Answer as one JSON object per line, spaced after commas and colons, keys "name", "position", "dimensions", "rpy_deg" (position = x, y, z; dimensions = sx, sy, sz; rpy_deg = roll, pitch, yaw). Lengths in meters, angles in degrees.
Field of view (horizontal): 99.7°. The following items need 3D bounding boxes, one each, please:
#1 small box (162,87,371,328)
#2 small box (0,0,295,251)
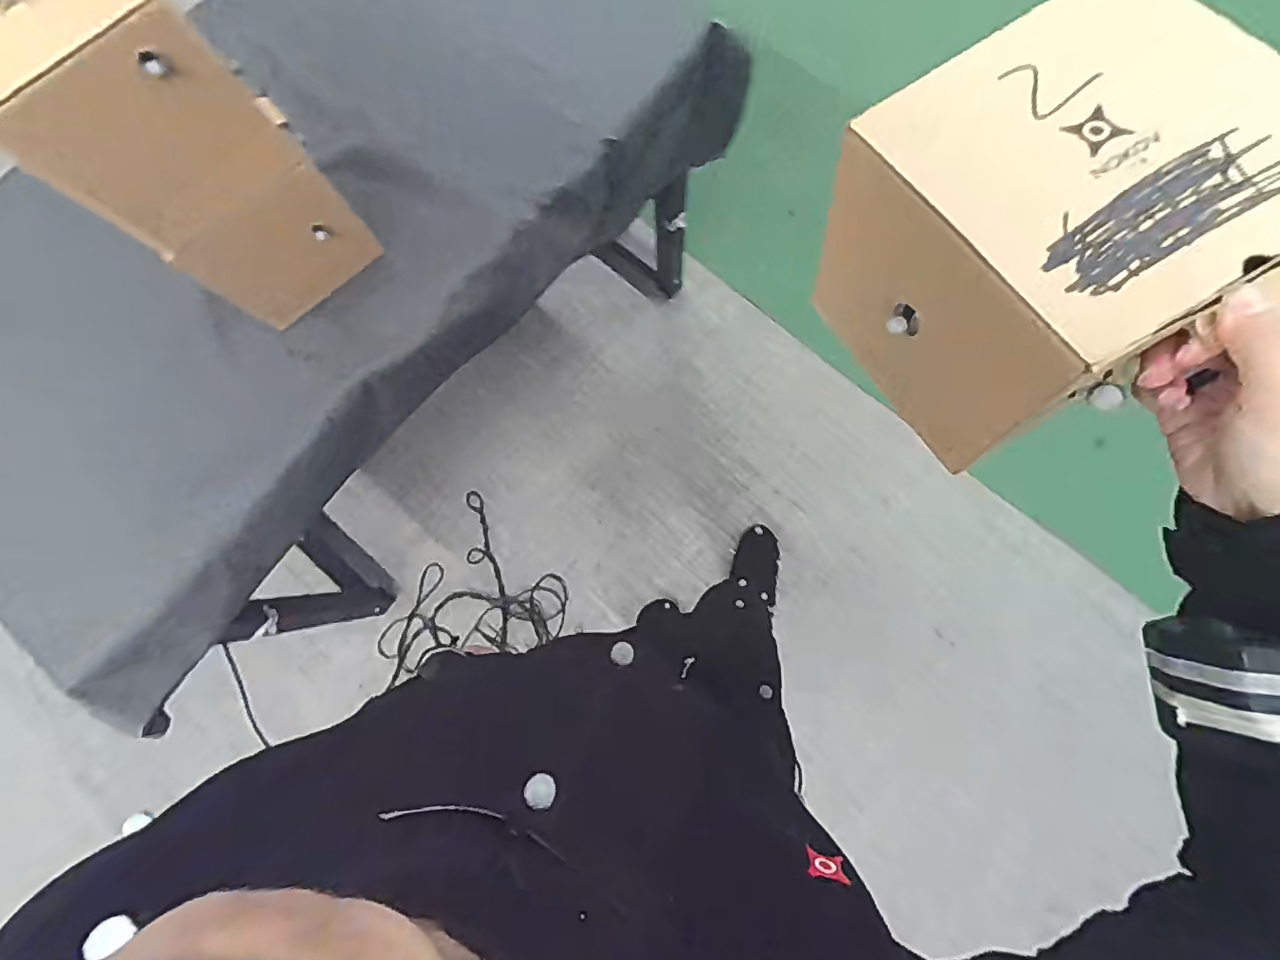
{"name": "small box", "position": [-0.461, -0.322, 0.652], "dimensions": [0.179, 0.176, 0.168], "rpy_deg": [-41, 80, -3]}
{"name": "small box", "position": [-0.473, -0.352, 0.492], "dimensions": [0.179, 0.176, 0.168], "rpy_deg": [-41, 80, -4]}
